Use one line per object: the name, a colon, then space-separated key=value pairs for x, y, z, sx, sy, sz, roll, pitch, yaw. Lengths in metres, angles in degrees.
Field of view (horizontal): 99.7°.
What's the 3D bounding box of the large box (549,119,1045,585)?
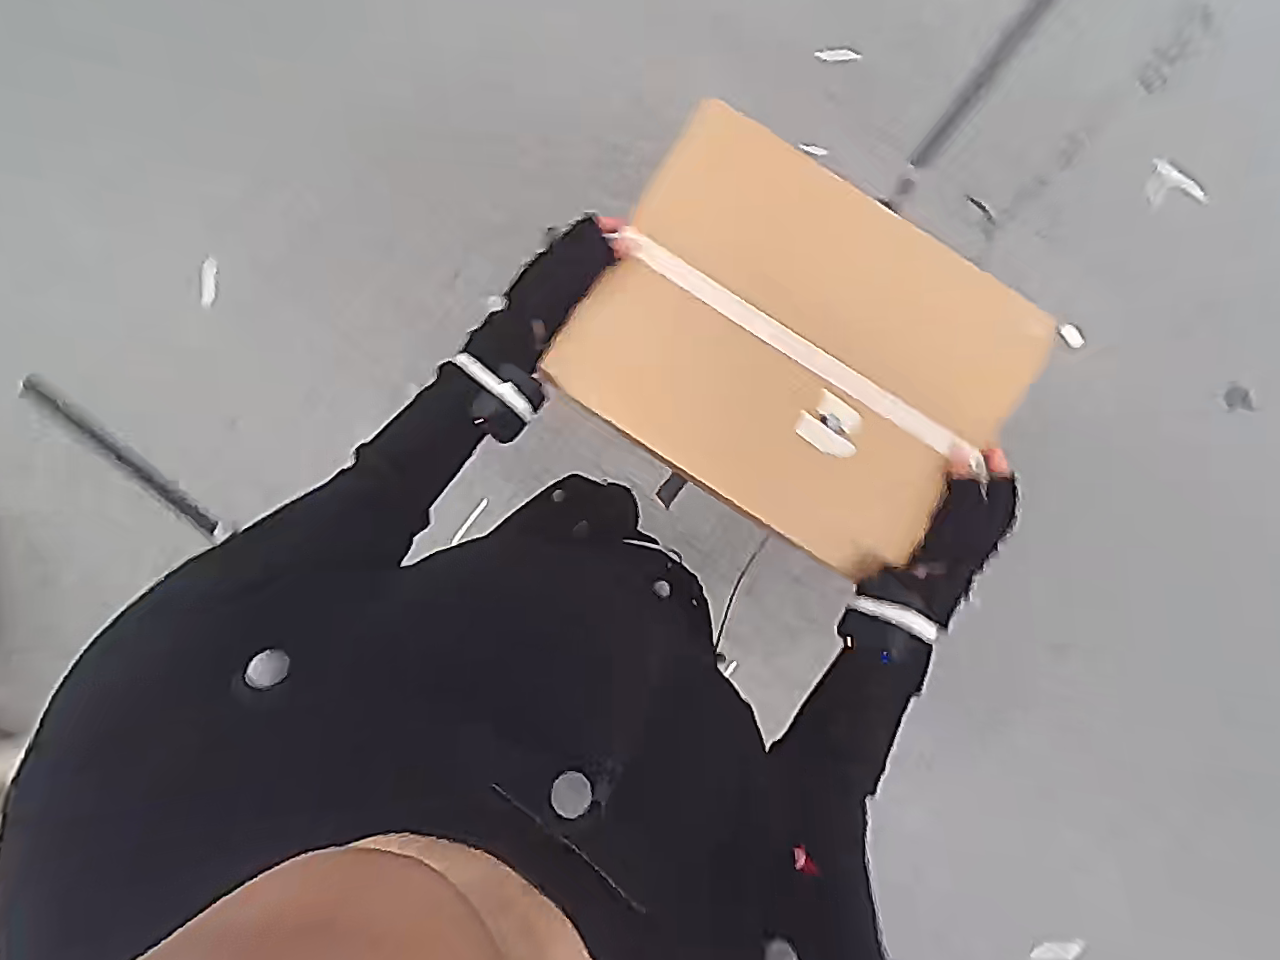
large box: x=0.153 y=-0.129 z=0.682 sx=0.408 sy=0.320 sz=0.320 roll=33 pitch=93 yaw=-1
